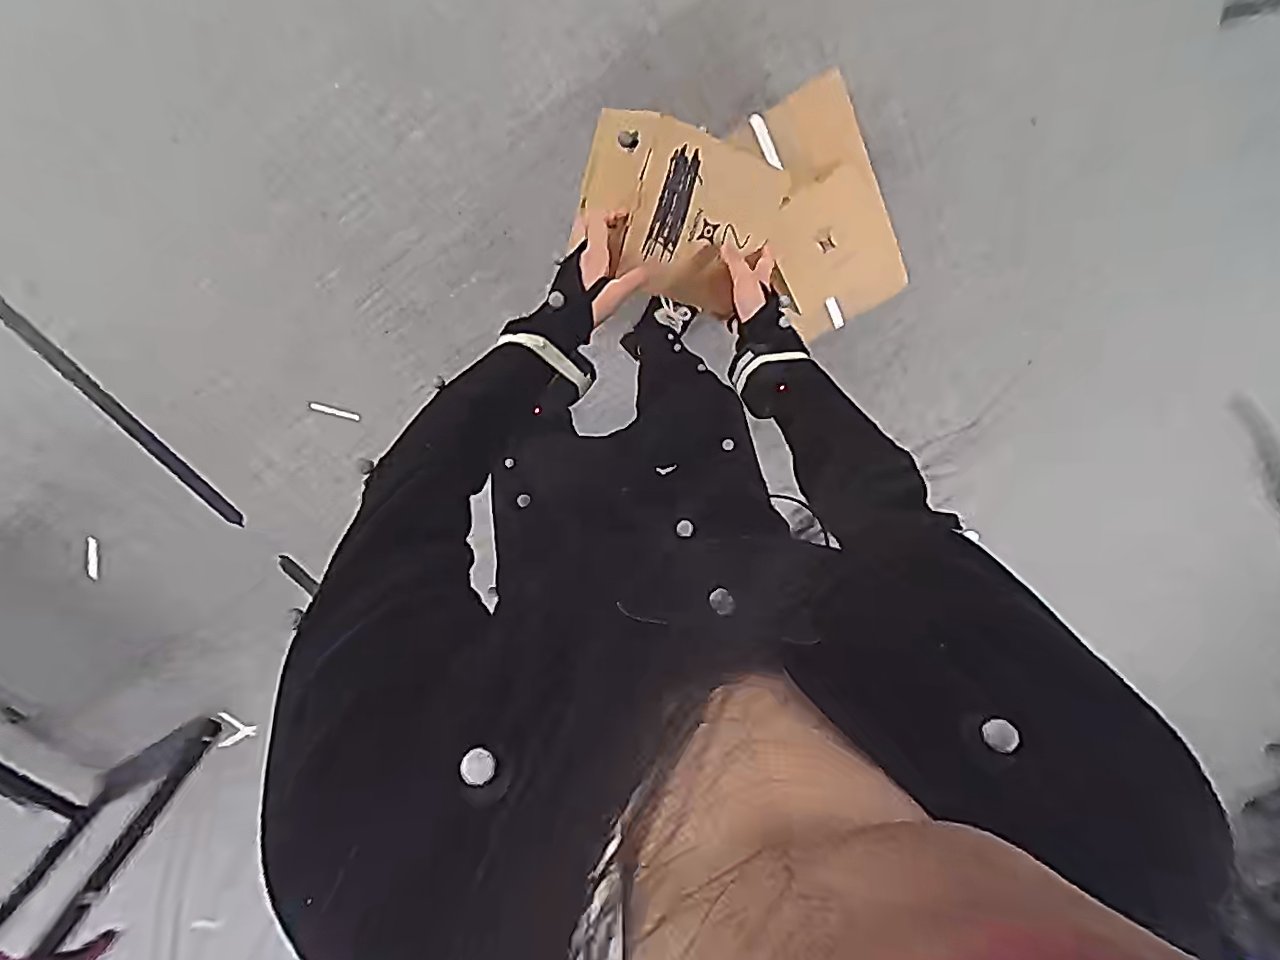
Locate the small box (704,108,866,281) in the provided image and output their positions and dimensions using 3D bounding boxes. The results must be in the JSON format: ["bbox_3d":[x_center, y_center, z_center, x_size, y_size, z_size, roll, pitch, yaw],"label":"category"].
[{"bbox_3d":[0.224,-0.458,0.877,0.168,0.176,0.179,-38,116,19],"label":"small box"}]
